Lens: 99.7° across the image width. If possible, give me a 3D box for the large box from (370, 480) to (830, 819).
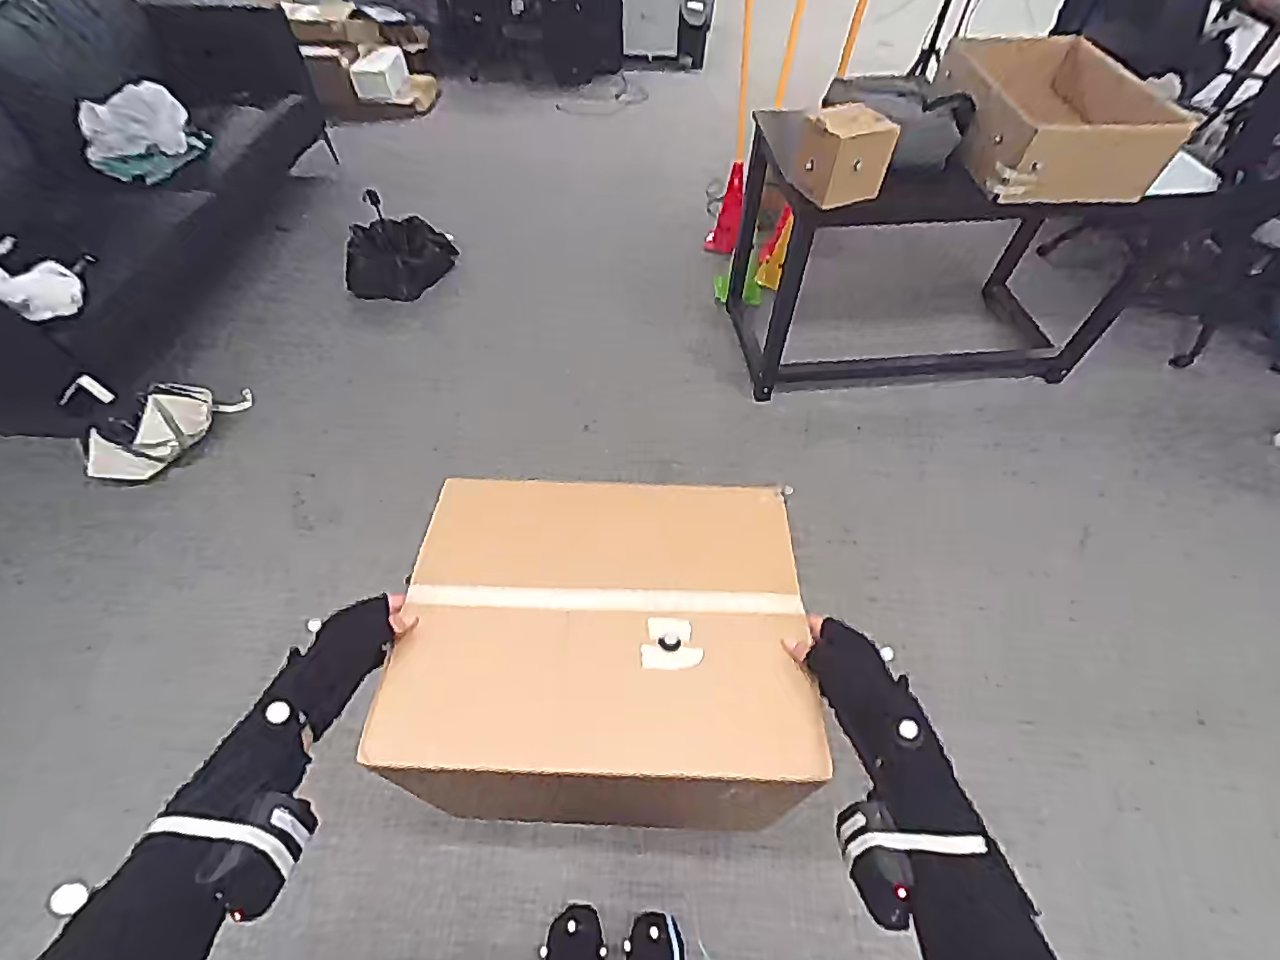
[{"bbox_3d":[-0.036,0.215,0.667,0.408,0.320,0.320,1,51,0],"label":"large box"}]
